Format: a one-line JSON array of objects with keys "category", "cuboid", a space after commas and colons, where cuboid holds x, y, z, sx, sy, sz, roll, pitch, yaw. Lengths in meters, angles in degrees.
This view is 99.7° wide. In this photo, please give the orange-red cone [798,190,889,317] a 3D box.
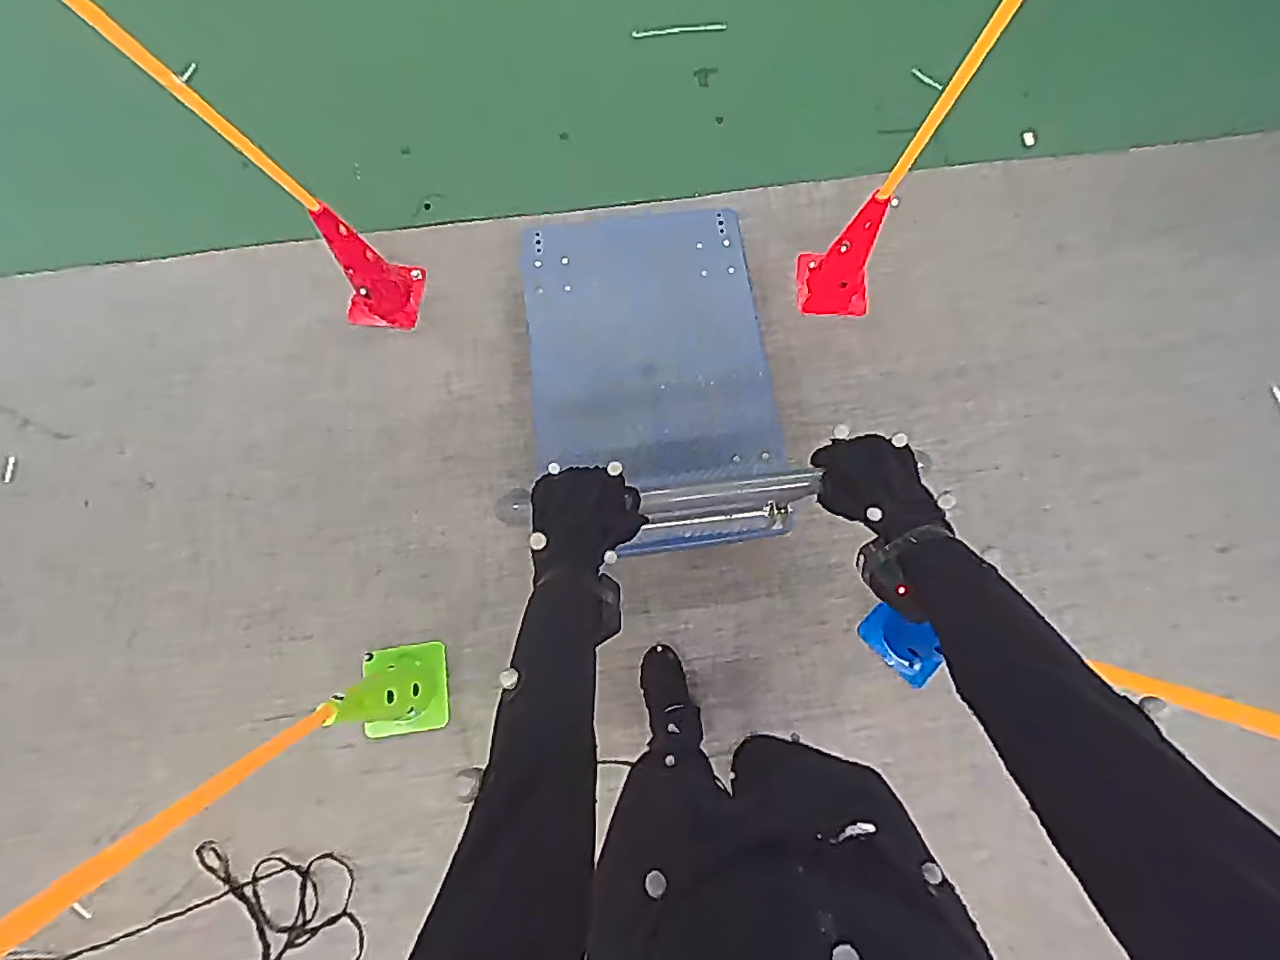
[{"category": "orange-red cone", "cuboid": [0.557, -0.606, 1.408, 0.198, 0.360, 0.199, 4, 77, 2]}]
